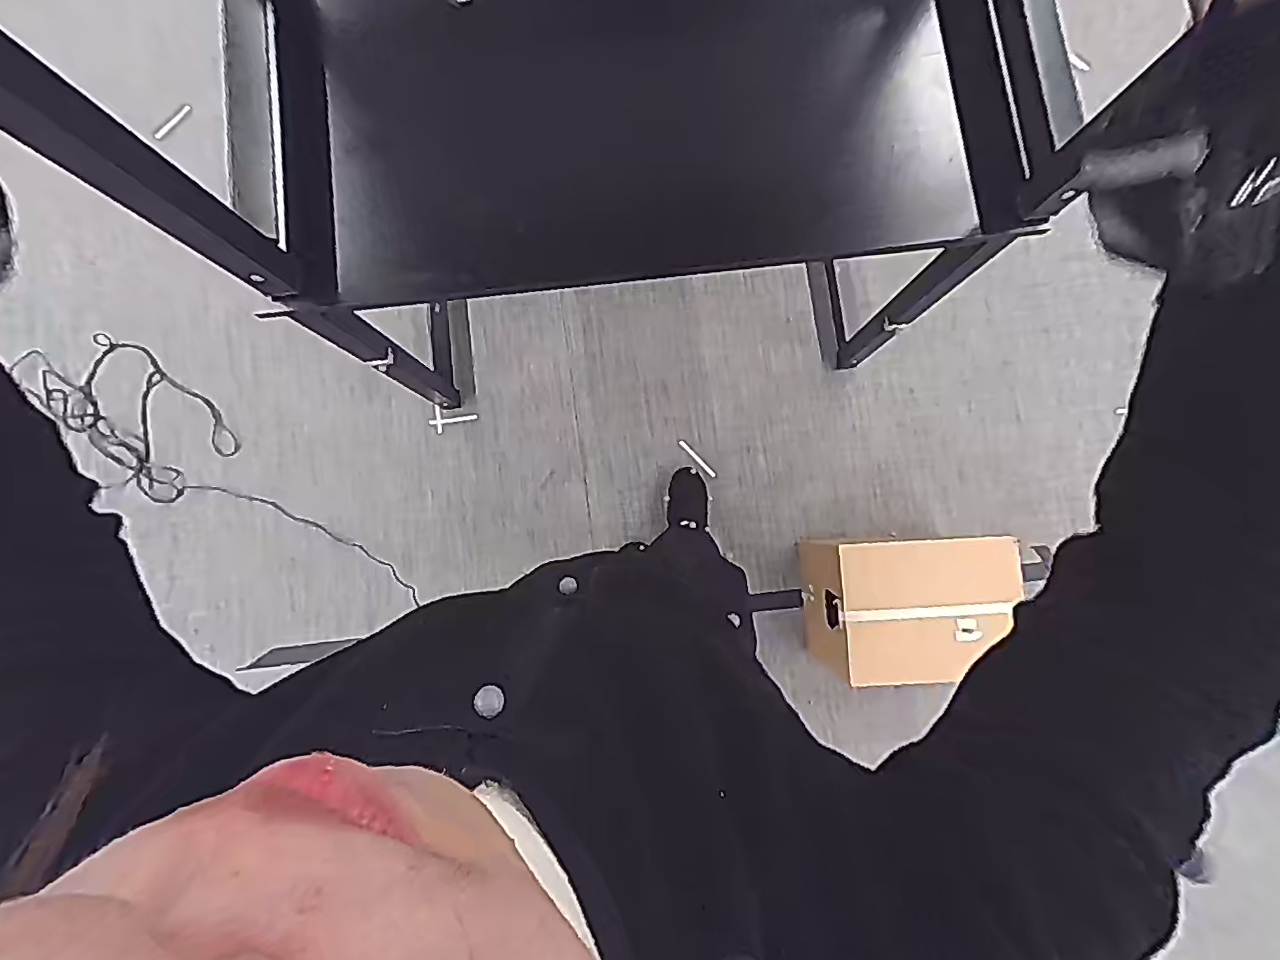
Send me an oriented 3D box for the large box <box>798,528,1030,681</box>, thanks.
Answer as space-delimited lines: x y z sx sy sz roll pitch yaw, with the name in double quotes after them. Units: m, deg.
0.643 0.286 1.335 0.408 0.320 0.320 -3 86 -1 "large box"
